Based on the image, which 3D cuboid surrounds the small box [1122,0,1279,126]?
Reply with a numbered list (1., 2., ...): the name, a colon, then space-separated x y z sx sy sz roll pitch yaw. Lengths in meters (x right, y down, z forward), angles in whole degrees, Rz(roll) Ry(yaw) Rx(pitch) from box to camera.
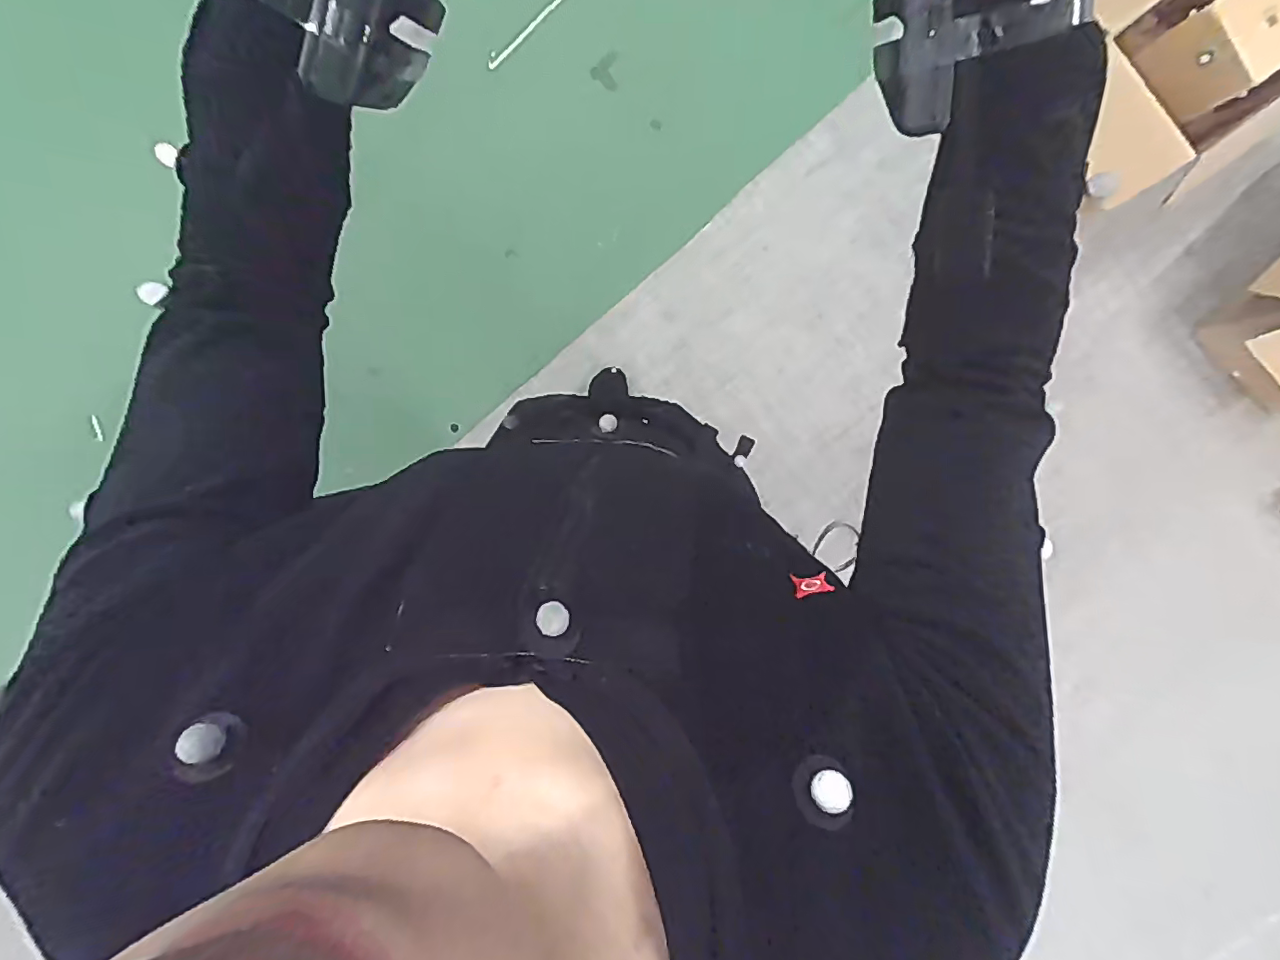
1. small box: 1.163 -0.871 1.105 0.168 0.176 0.179 -36 94 3
